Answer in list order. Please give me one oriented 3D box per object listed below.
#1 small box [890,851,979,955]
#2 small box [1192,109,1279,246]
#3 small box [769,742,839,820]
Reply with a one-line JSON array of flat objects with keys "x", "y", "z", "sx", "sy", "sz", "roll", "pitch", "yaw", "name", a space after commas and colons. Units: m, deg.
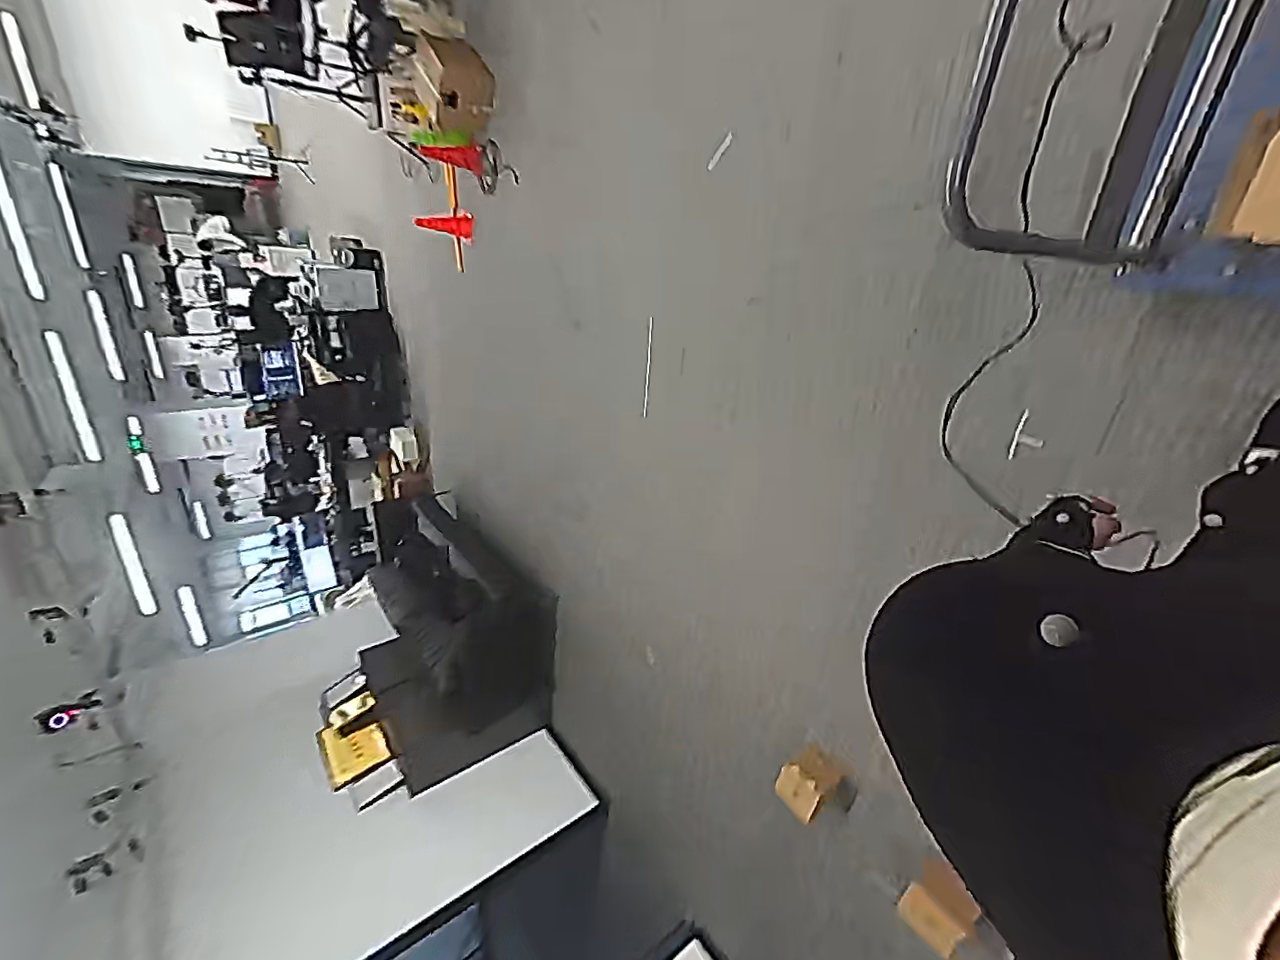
[{"x": 0.961, "y": 1.369, "z": 1.761, "sx": 0.179, "sy": 0.176, "sz": 0.168, "roll": 36, "pitch": 127, "yaw": 41, "name": "small box"}, {"x": 1.003, "y": -0.454, "z": 0.822, "sx": 0.168, "sy": 0.176, "sz": 0.179, "roll": 29, "pitch": 123, "yaw": 46, "name": "small box"}, {"x": 0.643, "y": 1.171, "z": 2.109, "sx": 0.168, "sy": 0.176, "sz": 0.179, "roll": 41, "pitch": 130, "yaw": 35, "name": "small box"}]
